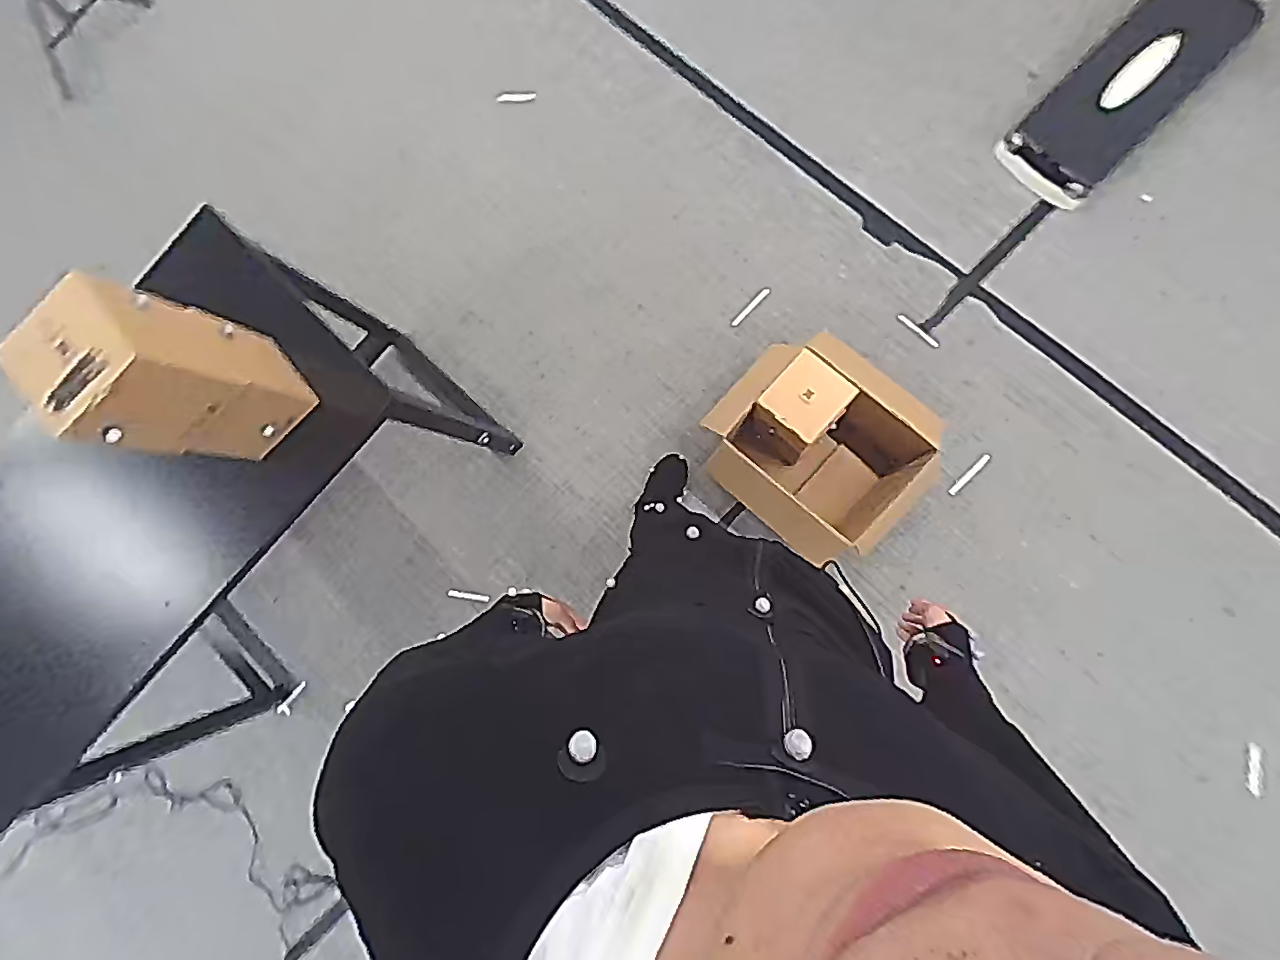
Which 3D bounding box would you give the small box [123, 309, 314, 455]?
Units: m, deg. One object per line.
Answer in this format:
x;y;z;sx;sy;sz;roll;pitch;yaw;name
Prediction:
-0.737;-0.163;0.963;0.168;0.176;0.179;-42;81;4;small box
